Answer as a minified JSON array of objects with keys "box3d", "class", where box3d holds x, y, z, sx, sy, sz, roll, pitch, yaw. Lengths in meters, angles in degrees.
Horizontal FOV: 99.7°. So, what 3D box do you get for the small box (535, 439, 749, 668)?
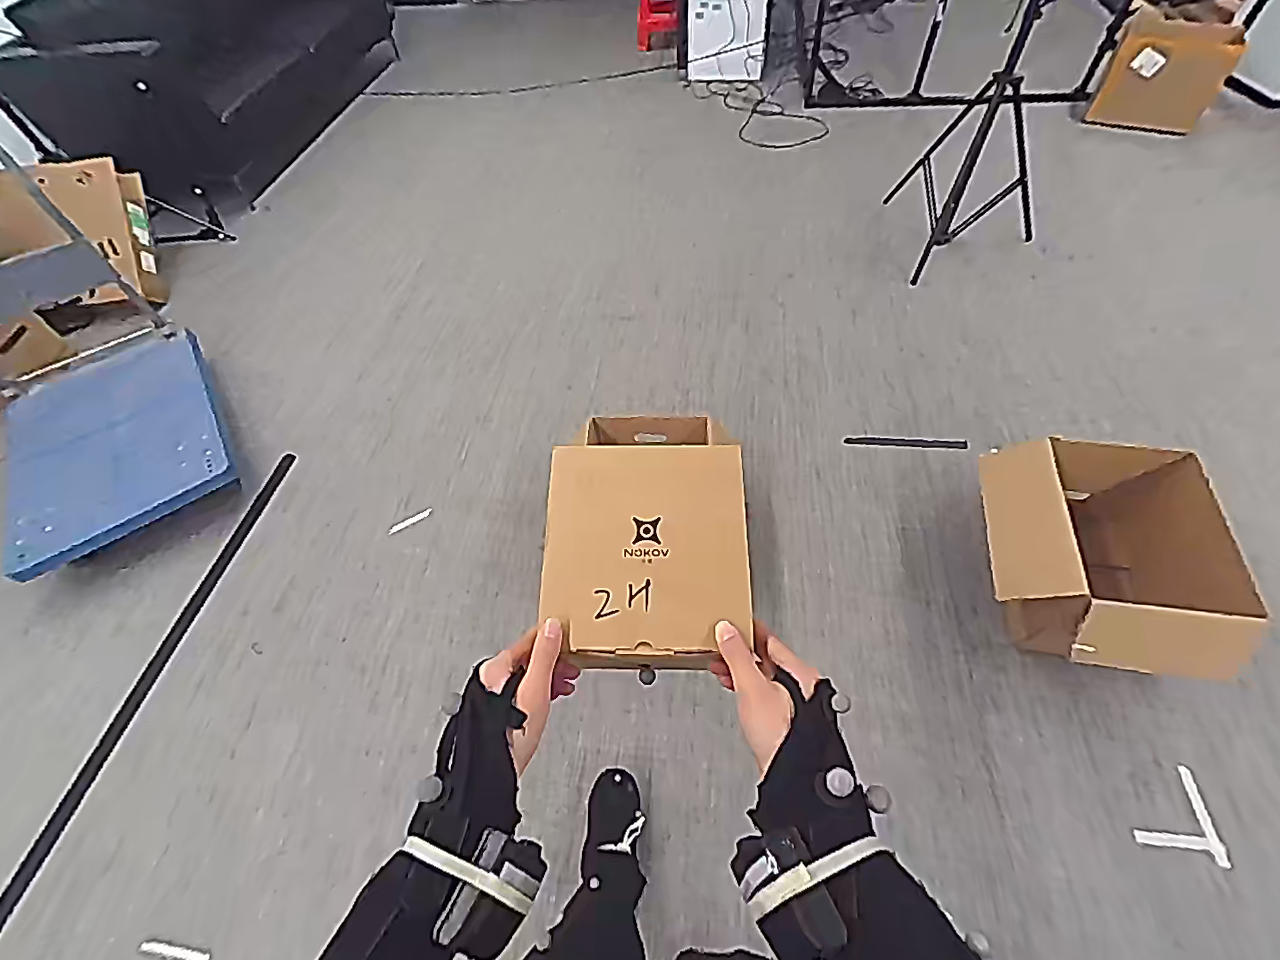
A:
[{"box3d":[0.006,0.077,0.513,0.168,0.176,0.179,0,66,3],"class":"small box"}]
